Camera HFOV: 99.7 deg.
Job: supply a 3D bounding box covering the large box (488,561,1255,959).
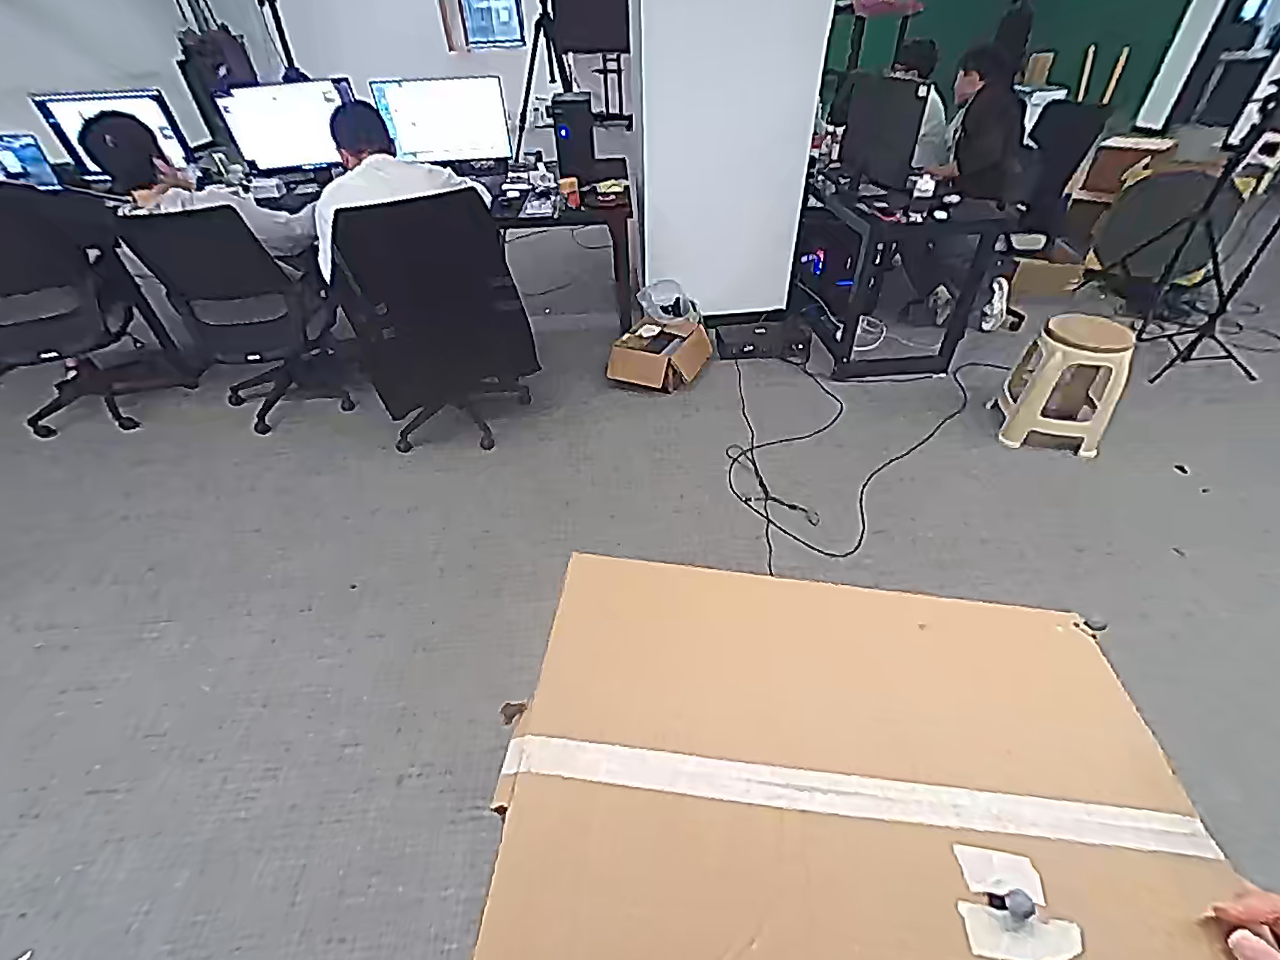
[{"bbox_3d":[0.116,0.299,0.430,0.408,0.320,0.320,8,43,1],"label":"large box"}]
